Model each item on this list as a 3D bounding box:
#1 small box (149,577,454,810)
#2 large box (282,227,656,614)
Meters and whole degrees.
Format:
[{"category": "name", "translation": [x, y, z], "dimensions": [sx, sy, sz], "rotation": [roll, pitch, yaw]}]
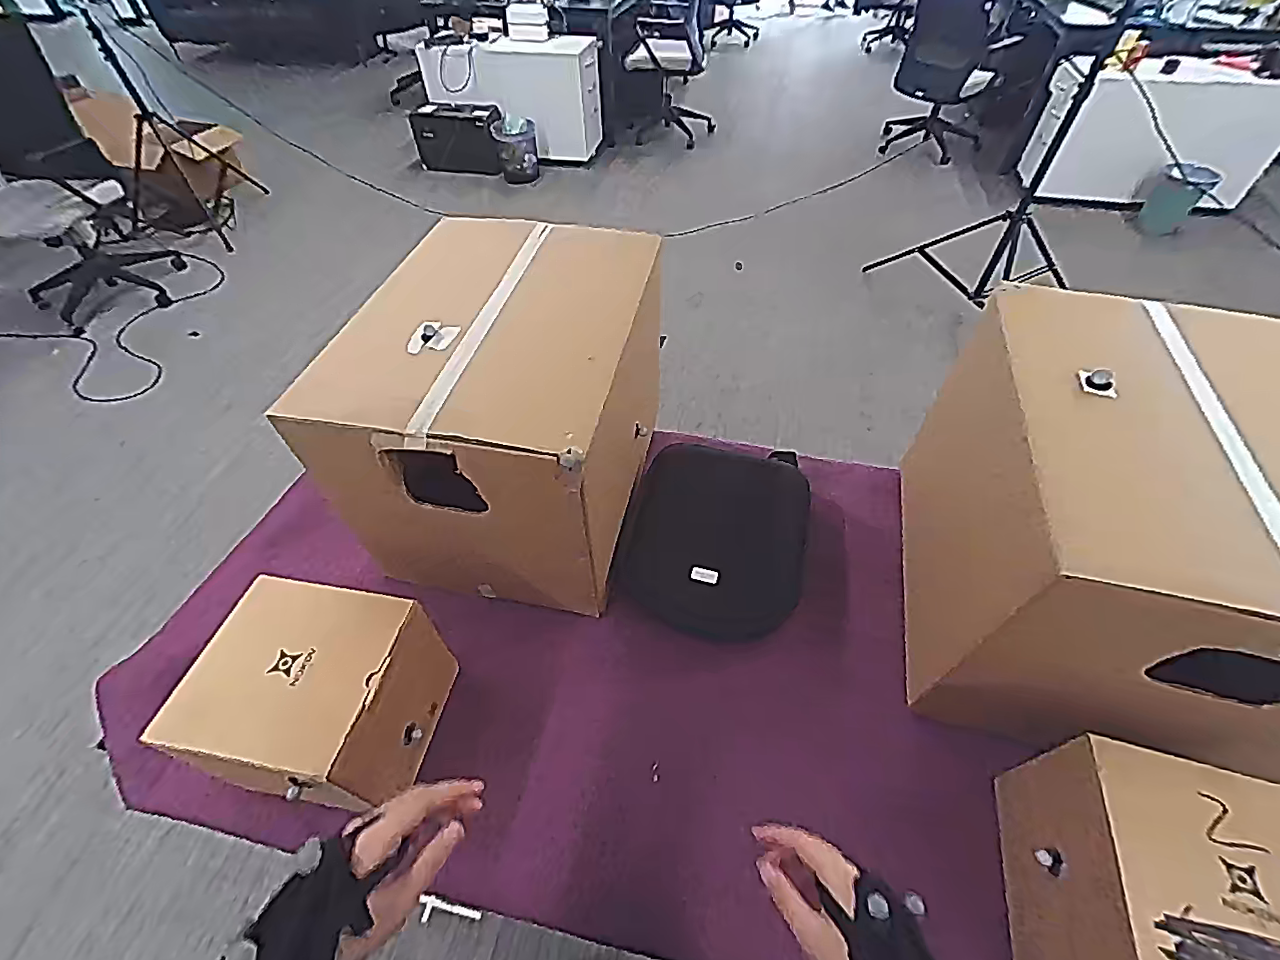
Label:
[{"category": "small box", "translation": [-0.321, 0.224, 0.561], "dimensions": [0.179, 0.176, 0.168], "rotation": [7, 49, 6]}, {"category": "large box", "translation": [-0.159, -0.086, 0.732], "dimensions": [0.320, 0.320, 0.408], "rotation": [7, 52, 8]}]
